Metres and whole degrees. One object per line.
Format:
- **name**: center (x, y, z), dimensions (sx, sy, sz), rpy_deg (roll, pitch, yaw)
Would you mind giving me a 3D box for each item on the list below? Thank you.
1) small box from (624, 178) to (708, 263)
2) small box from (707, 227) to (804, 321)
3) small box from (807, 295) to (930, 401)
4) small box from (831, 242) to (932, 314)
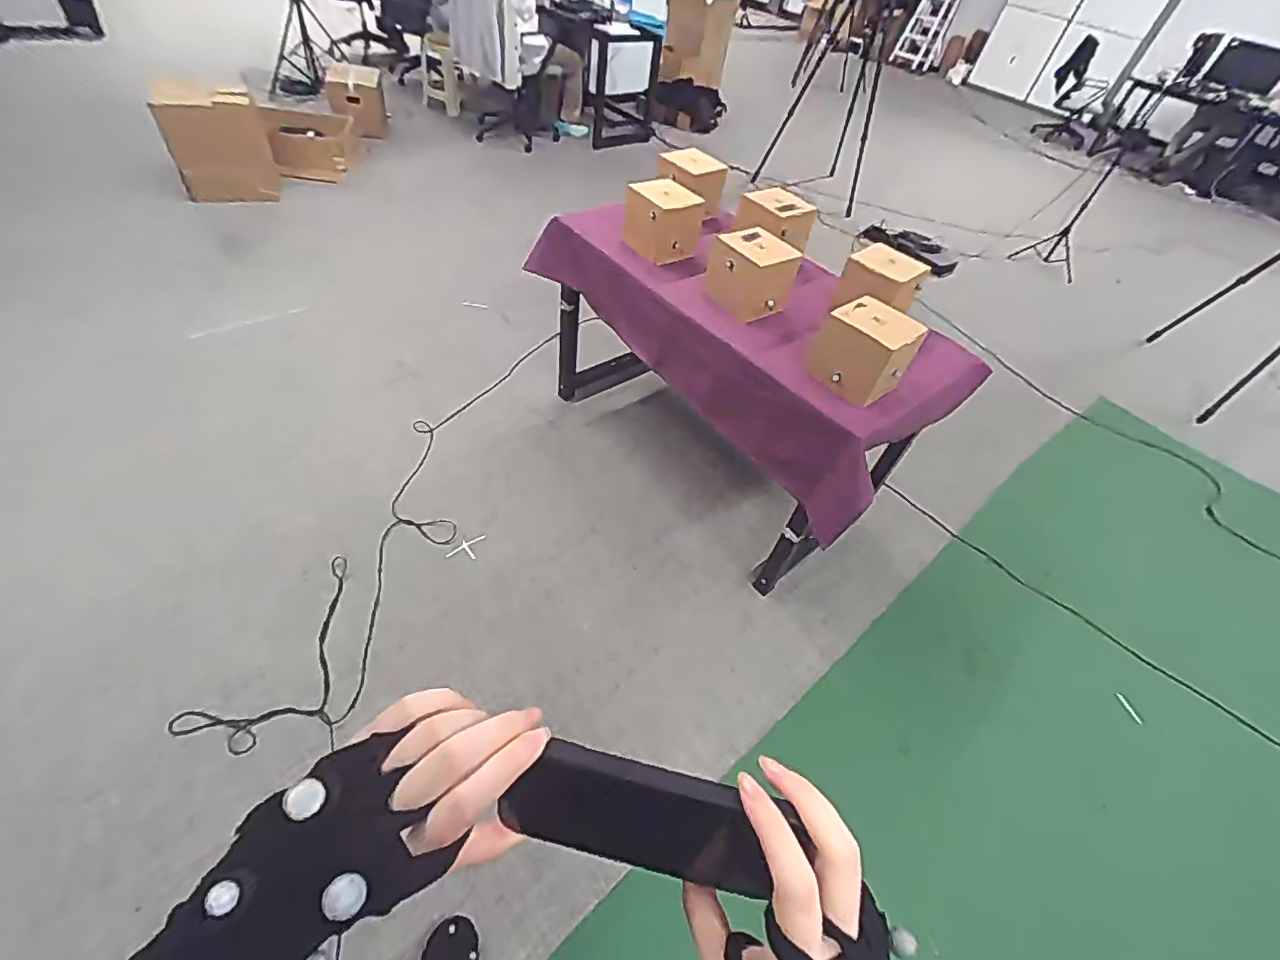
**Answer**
- **small box**: center (0.071, -0.779, 1.626), dimensions (0.168, 0.176, 0.179), rpy_deg (-27, 60, -30)
- **small box**: center (0.306, -0.563, 1.477), dimensions (0.168, 0.176, 0.179), rpy_deg (-25, 59, -29)
- **small box**: center (0.539, -0.309, 1.293), dimensions (0.168, 0.176, 0.179), rpy_deg (-29, 60, -31)
- **small box**: center (0.669, -0.537, 1.518), dimensions (0.179, 0.176, 0.168), rpy_deg (-31, 60, -31)
